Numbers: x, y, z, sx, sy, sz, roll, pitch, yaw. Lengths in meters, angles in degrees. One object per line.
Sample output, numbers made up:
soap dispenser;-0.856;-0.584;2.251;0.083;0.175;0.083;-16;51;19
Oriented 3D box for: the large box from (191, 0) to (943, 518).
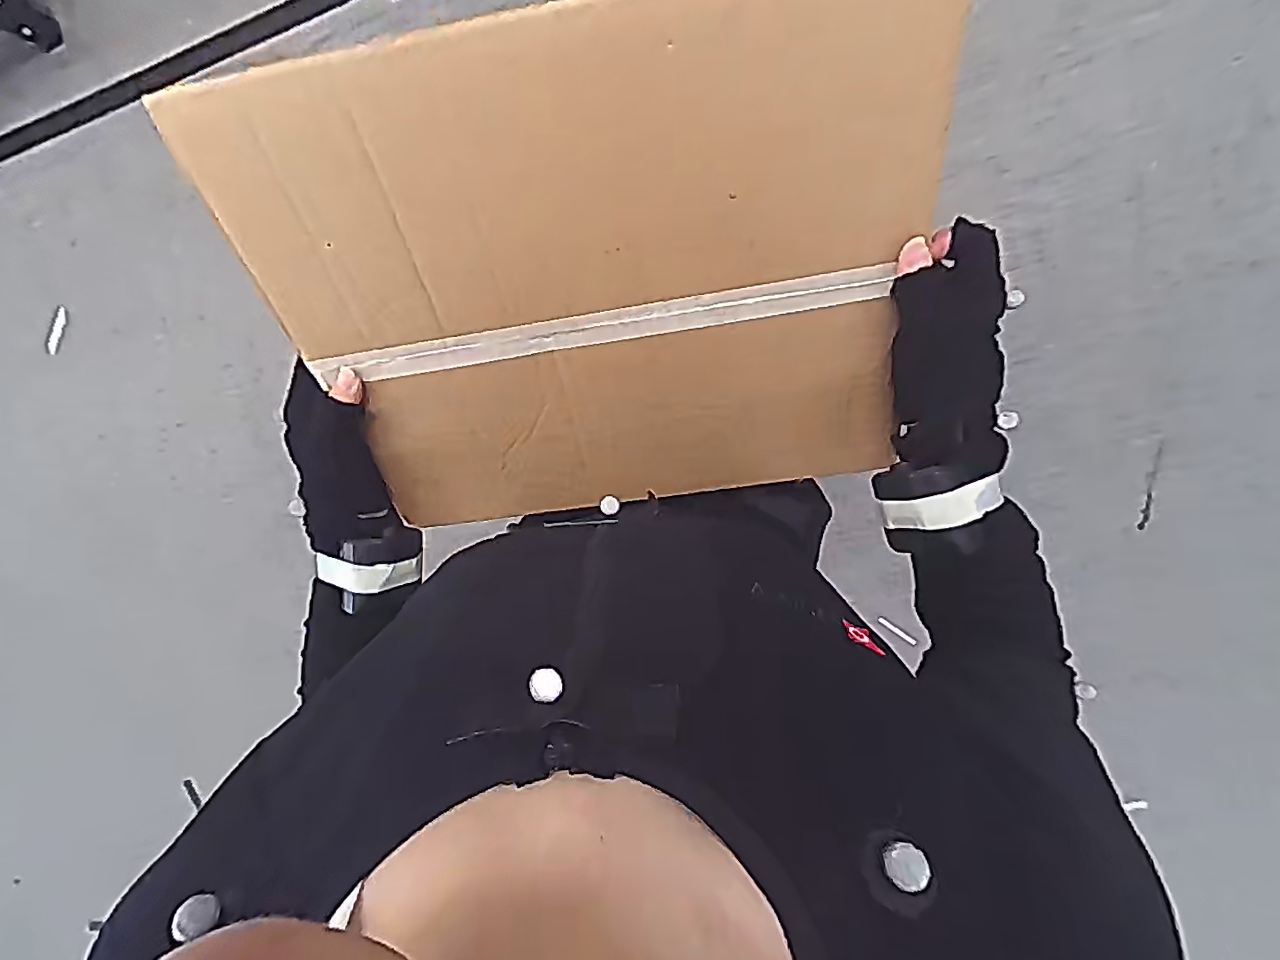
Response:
large box;-0.025;-0.205;0.478;0.408;0.320;0.320;-8;131;6
